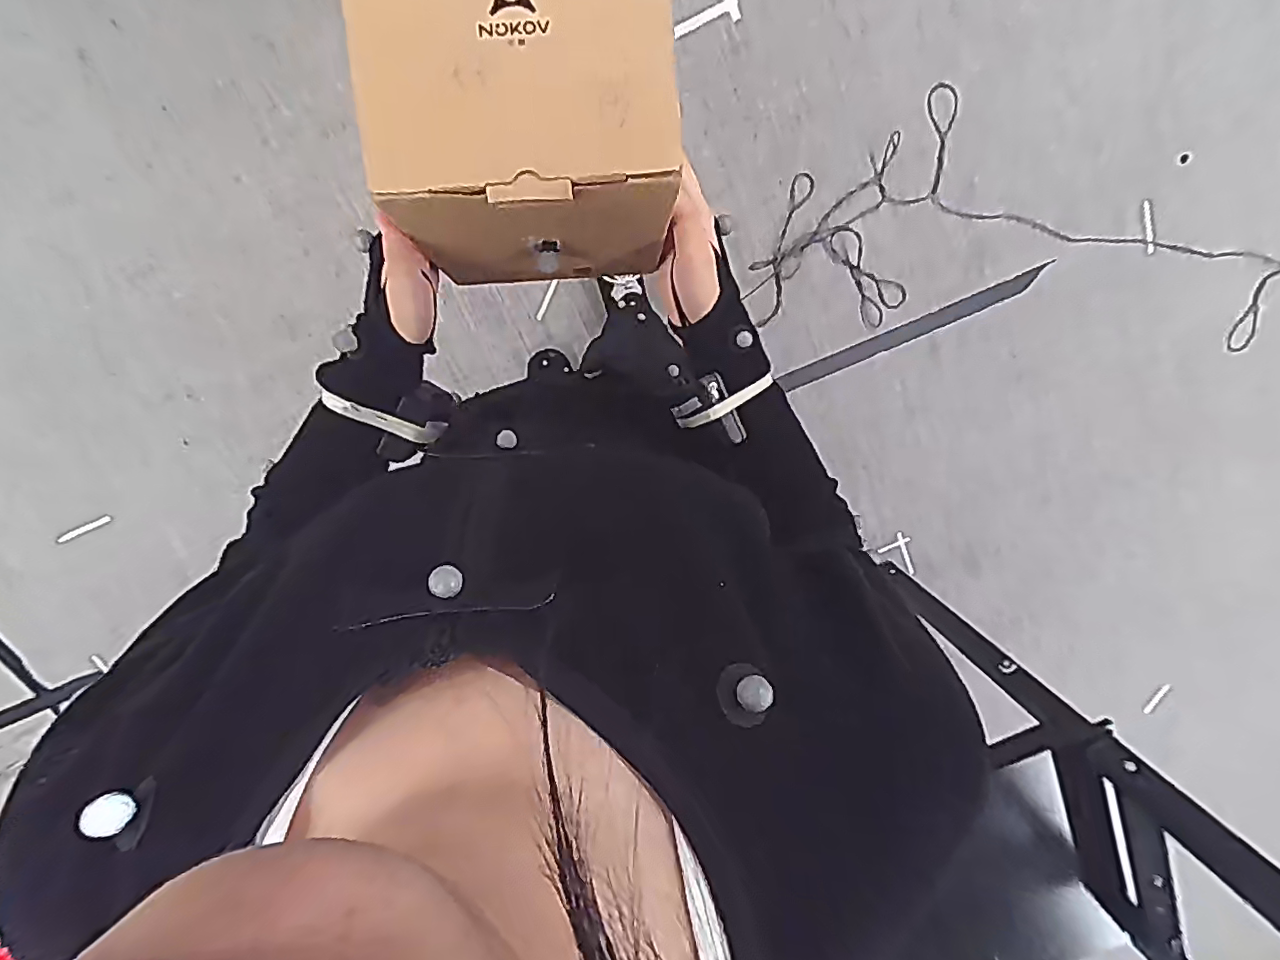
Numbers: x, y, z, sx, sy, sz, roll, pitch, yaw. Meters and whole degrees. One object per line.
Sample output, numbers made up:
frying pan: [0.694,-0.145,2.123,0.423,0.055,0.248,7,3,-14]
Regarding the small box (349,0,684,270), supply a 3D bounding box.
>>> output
small box: [-0.067,-0.245,0.351,0.168,0.176,0.179,-5,96,-4]
